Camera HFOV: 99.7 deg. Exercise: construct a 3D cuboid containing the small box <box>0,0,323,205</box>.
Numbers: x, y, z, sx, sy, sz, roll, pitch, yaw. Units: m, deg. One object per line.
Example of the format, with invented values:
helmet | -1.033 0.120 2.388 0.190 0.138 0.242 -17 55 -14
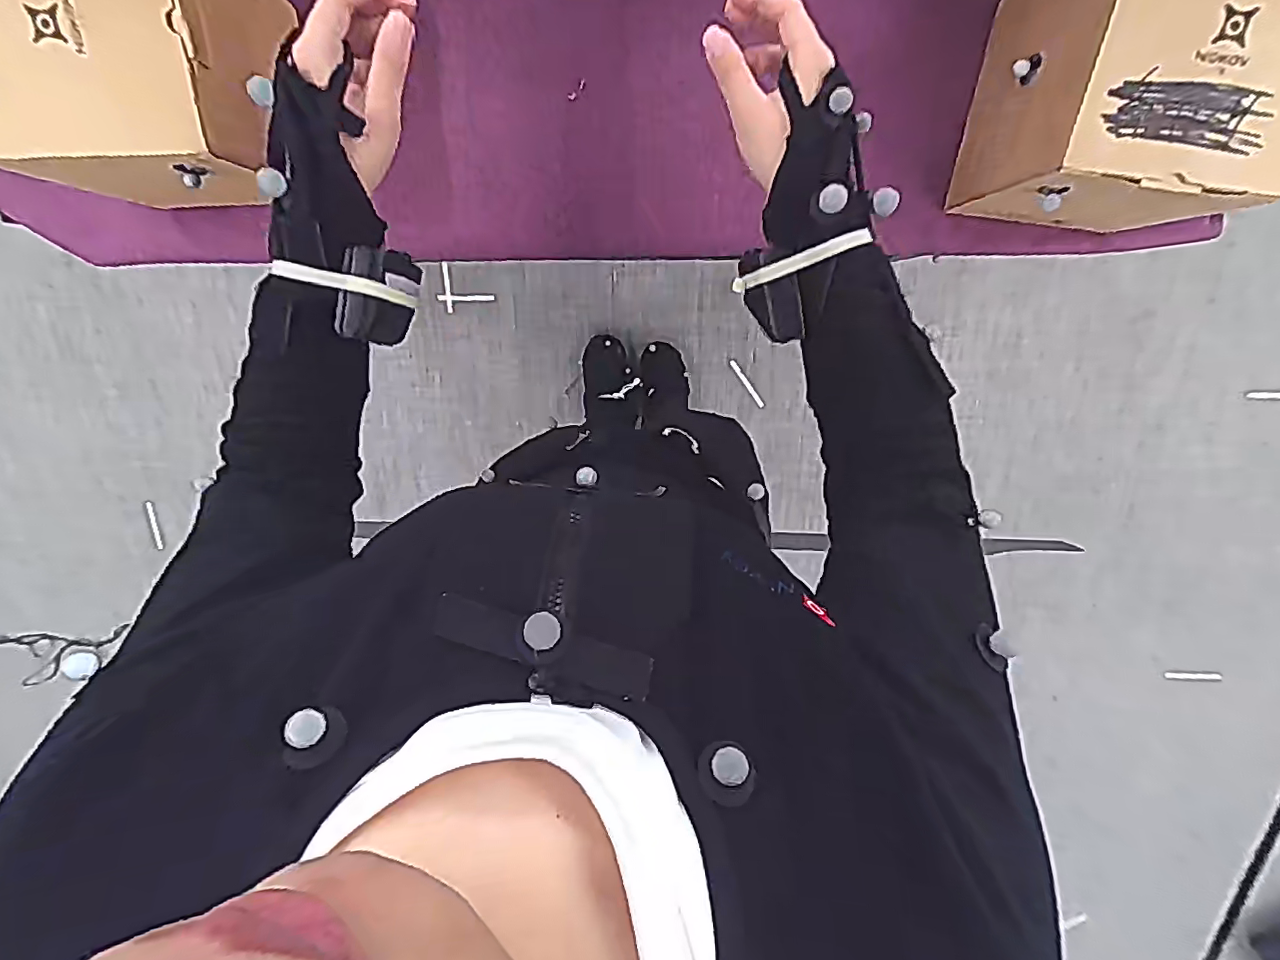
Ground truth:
small box | -0.409 -0.338 0.454 0.179 0.176 0.168 -3 107 -1
